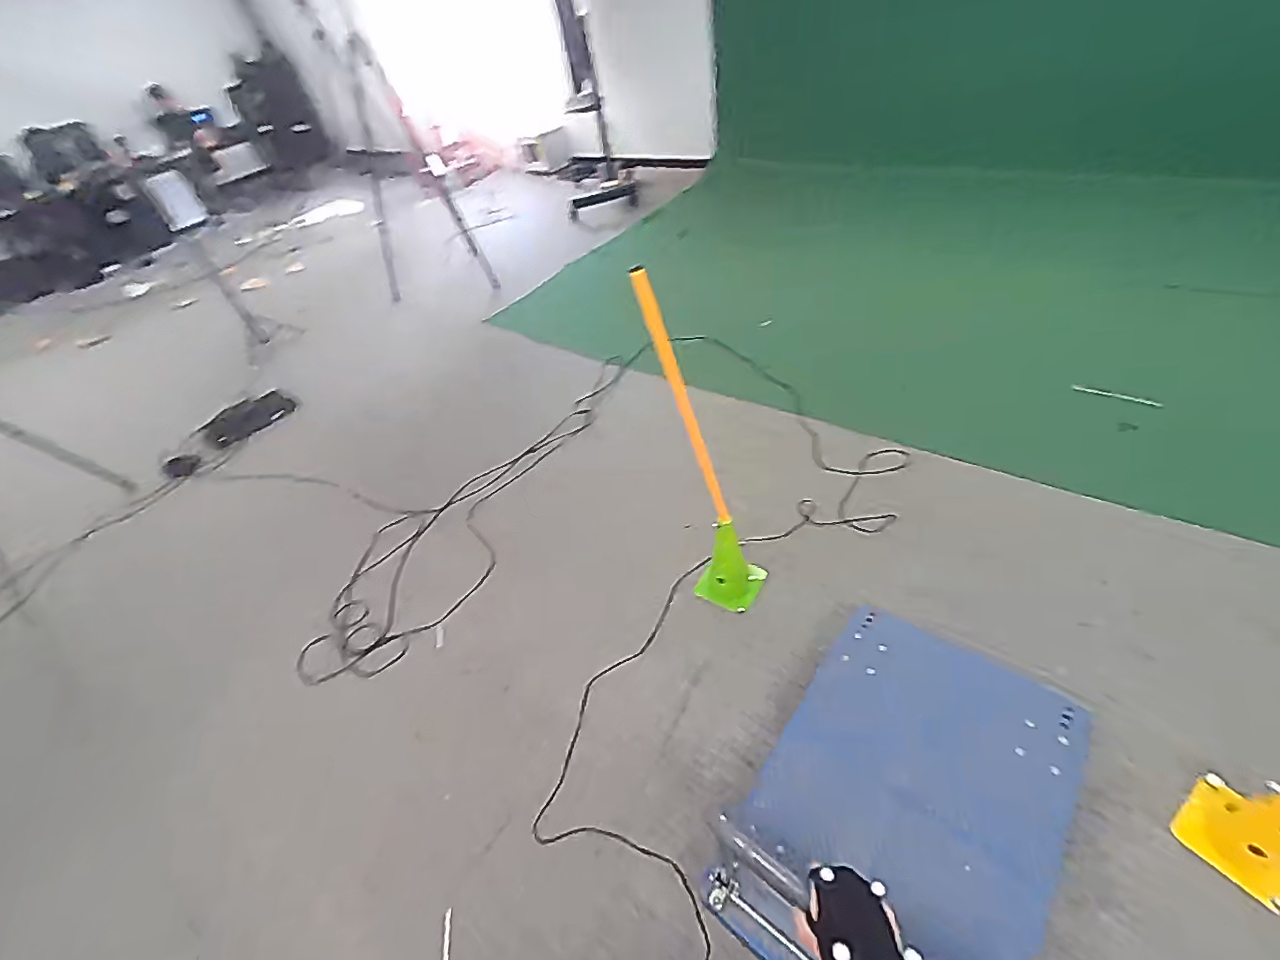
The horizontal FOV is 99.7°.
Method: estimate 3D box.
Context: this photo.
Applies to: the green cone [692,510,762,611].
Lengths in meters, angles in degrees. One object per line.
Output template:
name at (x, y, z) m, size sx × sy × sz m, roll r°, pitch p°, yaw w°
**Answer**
green cone at (0.275, 0.231, 1.787) m, size 0.202 × 0.368 × 0.200 m, roll 17°, pitch 52°, yaw 29°
